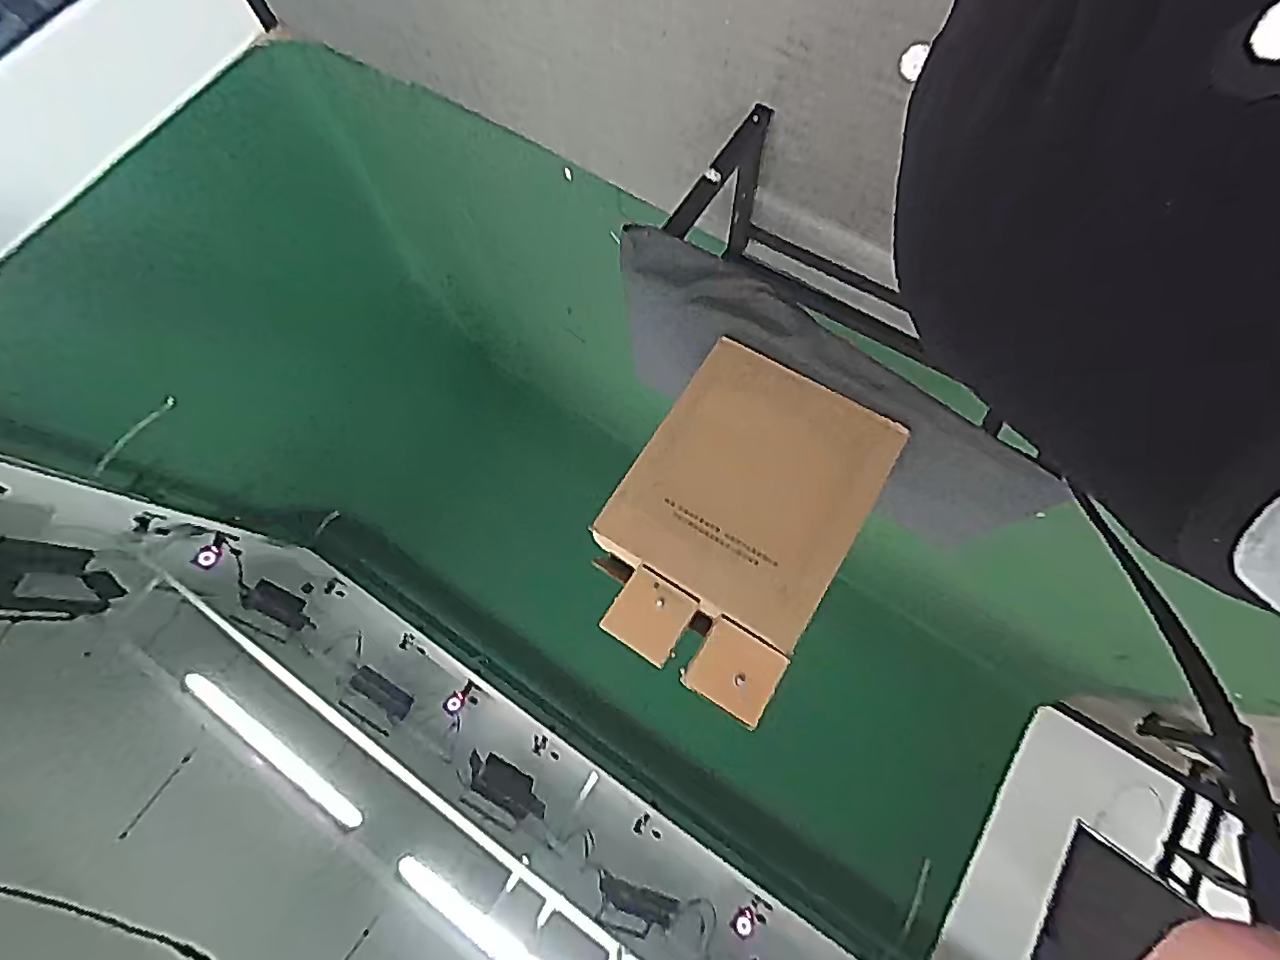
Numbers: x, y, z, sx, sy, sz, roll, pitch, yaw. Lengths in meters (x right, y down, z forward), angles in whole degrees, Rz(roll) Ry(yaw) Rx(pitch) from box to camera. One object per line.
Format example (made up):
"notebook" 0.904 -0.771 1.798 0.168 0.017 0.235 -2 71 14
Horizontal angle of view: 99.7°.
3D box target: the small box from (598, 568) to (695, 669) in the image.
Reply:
"small box" 0.021 0.334 1.304 0.168 0.176 0.179 31 164 12

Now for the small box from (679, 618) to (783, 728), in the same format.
"small box" 0.208 0.438 1.248 0.179 0.176 0.168 30 165 12
